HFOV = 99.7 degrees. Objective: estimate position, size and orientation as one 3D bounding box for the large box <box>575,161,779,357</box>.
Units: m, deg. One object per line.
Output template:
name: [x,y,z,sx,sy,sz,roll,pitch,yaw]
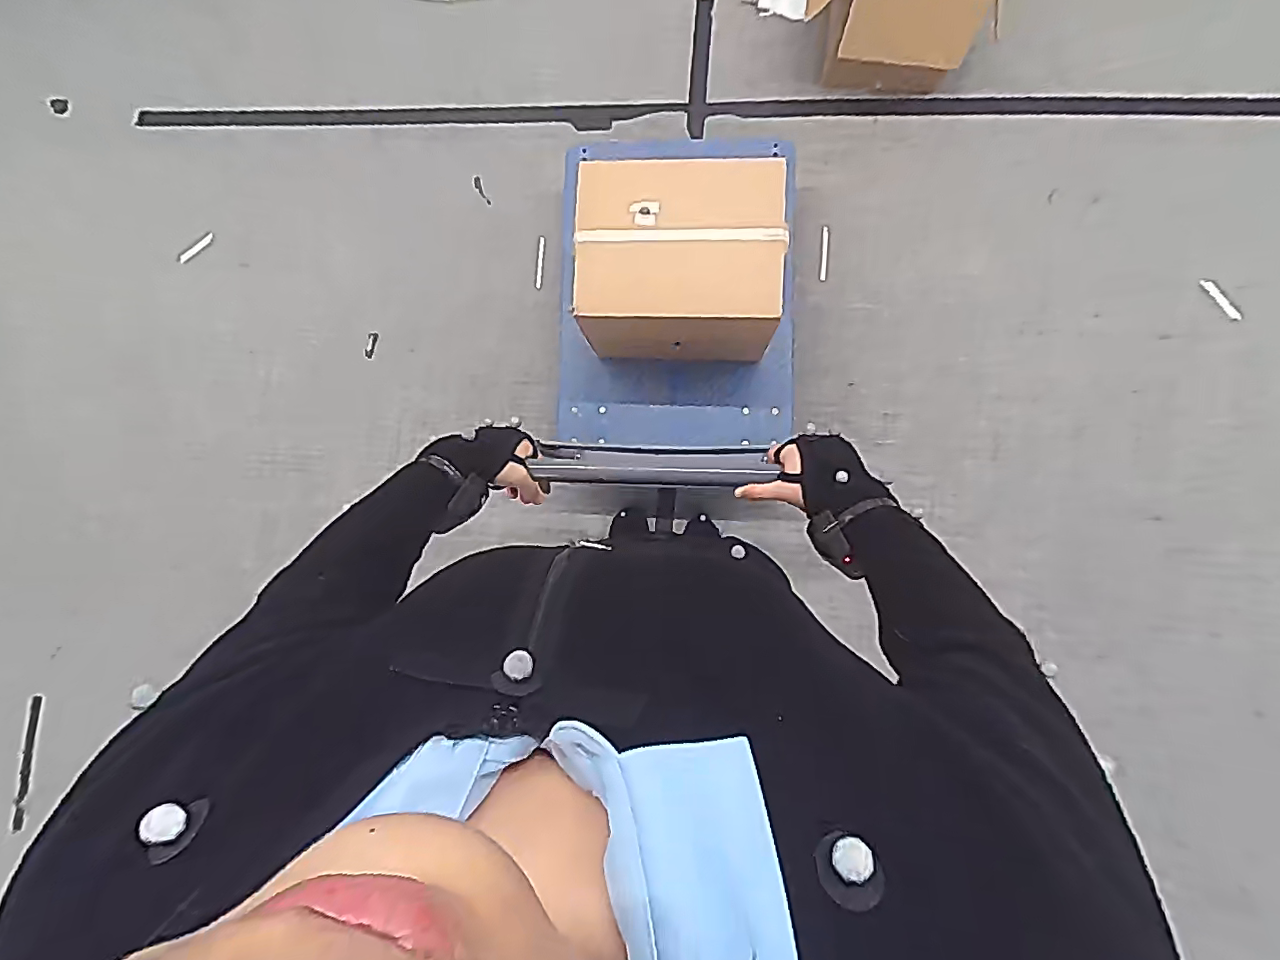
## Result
large box: [0.088,-0.466,1.212,0.408,0.320,0.320,2,87,6]
